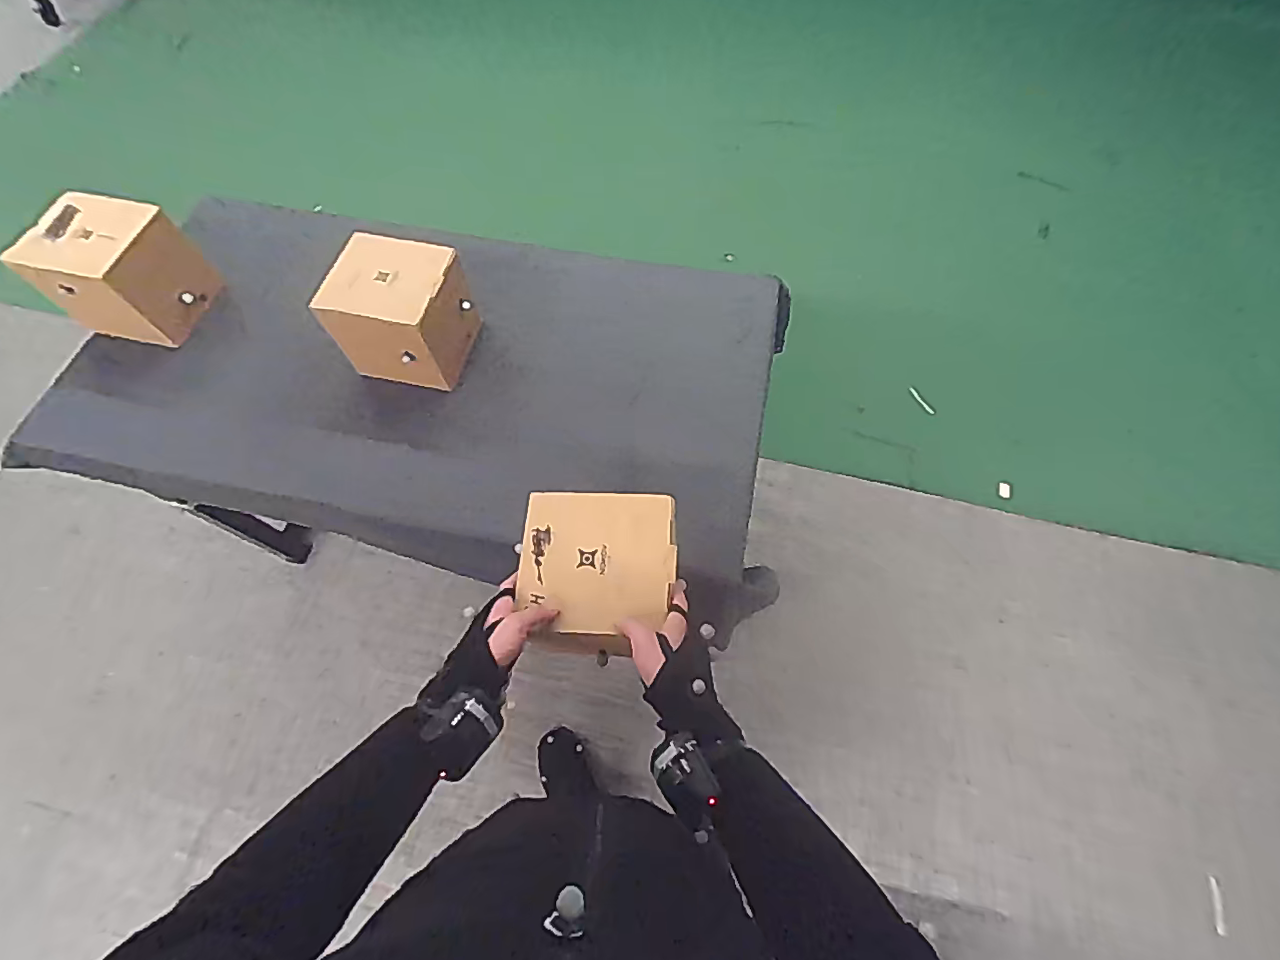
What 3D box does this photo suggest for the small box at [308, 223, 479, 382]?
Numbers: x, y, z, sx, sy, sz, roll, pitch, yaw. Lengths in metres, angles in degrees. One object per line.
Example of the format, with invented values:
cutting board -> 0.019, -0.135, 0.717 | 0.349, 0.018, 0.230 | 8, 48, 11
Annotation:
small box -> -0.384, -0.282, 0.883 | 0.179, 0.176, 0.168 | 11, 64, 5

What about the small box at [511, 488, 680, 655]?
small box -> -0.044, 0.121, 0.676 | 0.179, 0.176, 0.168 | 3, 65, 3

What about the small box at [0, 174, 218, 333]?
small box -> -0.880, -0.372, 0.909 | 0.179, 0.176, 0.168 | 13, 66, 3
